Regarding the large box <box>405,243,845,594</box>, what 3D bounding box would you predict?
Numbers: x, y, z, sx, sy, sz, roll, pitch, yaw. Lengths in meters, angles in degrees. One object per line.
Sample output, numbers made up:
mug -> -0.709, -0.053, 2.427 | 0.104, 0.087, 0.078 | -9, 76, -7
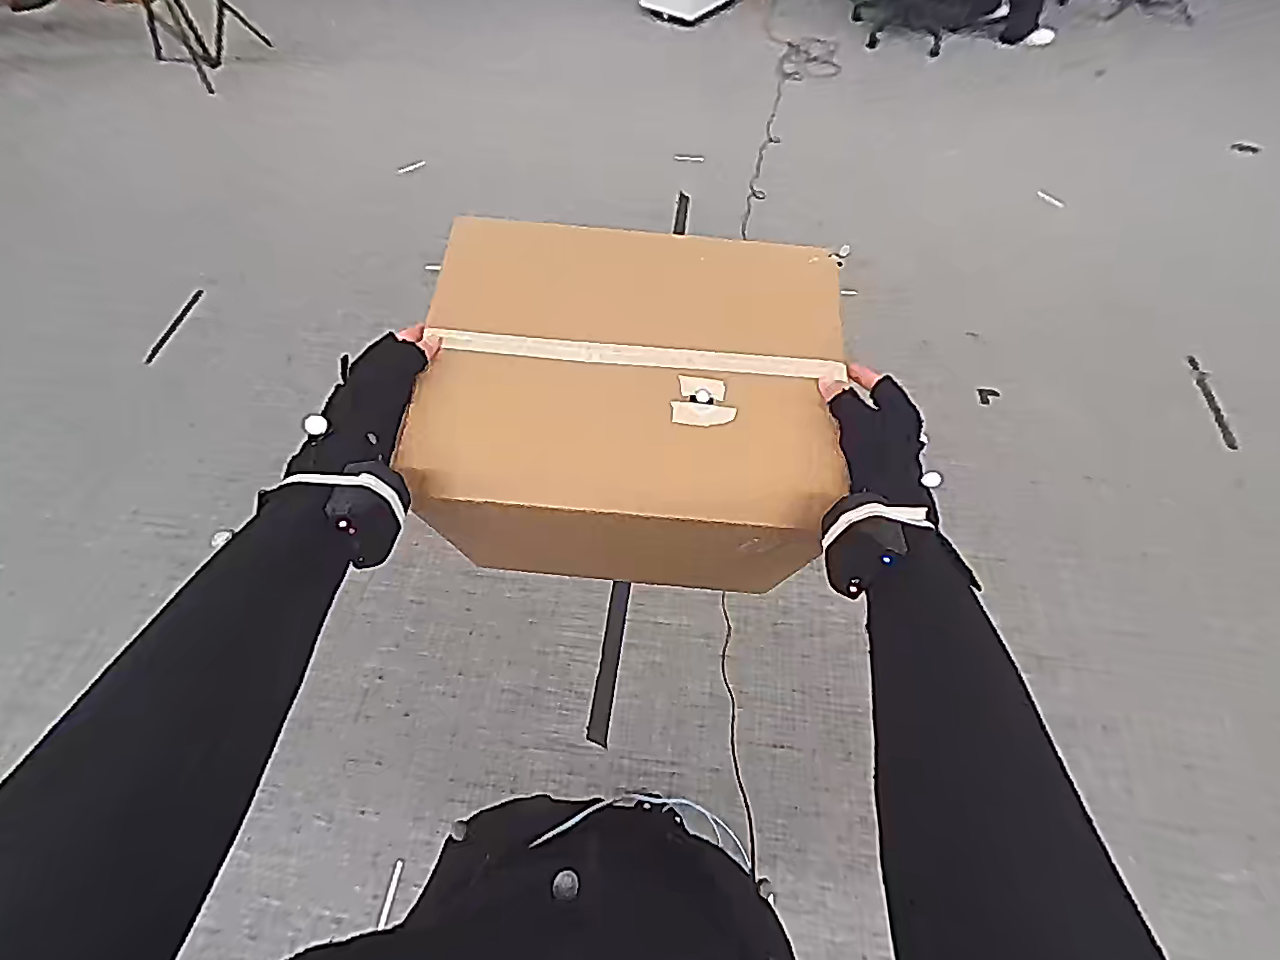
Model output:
large box -> -0.010, -0.049, 0.672 | 0.408, 0.320, 0.320 | 5, 69, 0
